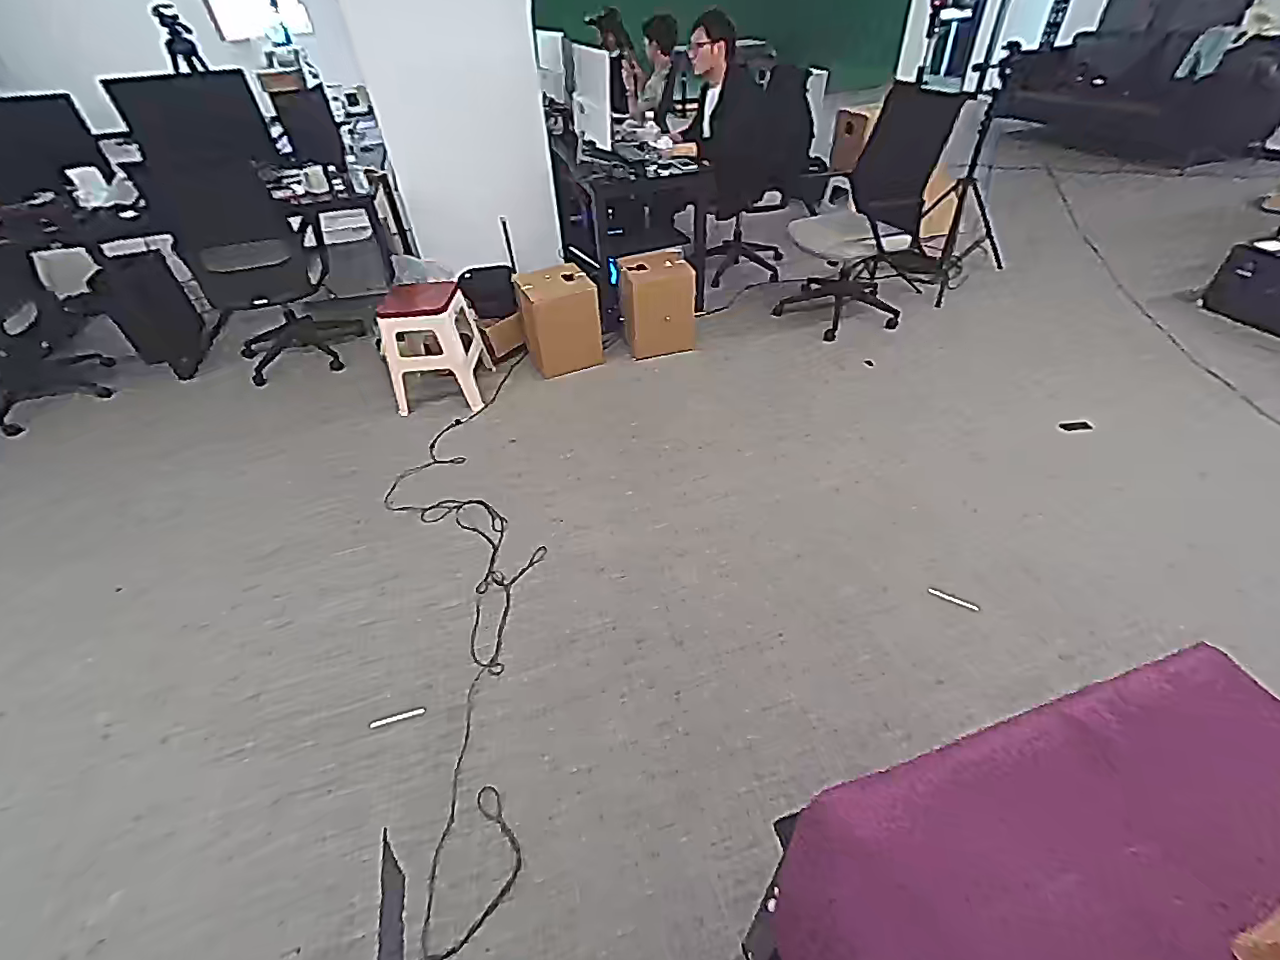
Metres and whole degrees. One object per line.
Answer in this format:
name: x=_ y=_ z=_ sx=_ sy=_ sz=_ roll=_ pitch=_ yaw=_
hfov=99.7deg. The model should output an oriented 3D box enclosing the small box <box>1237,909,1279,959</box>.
small box: x=0.637 y=0.400 z=0.397 sx=0.168 sy=0.176 sz=0.179 roll=-16 pitch=44 yaw=-14
